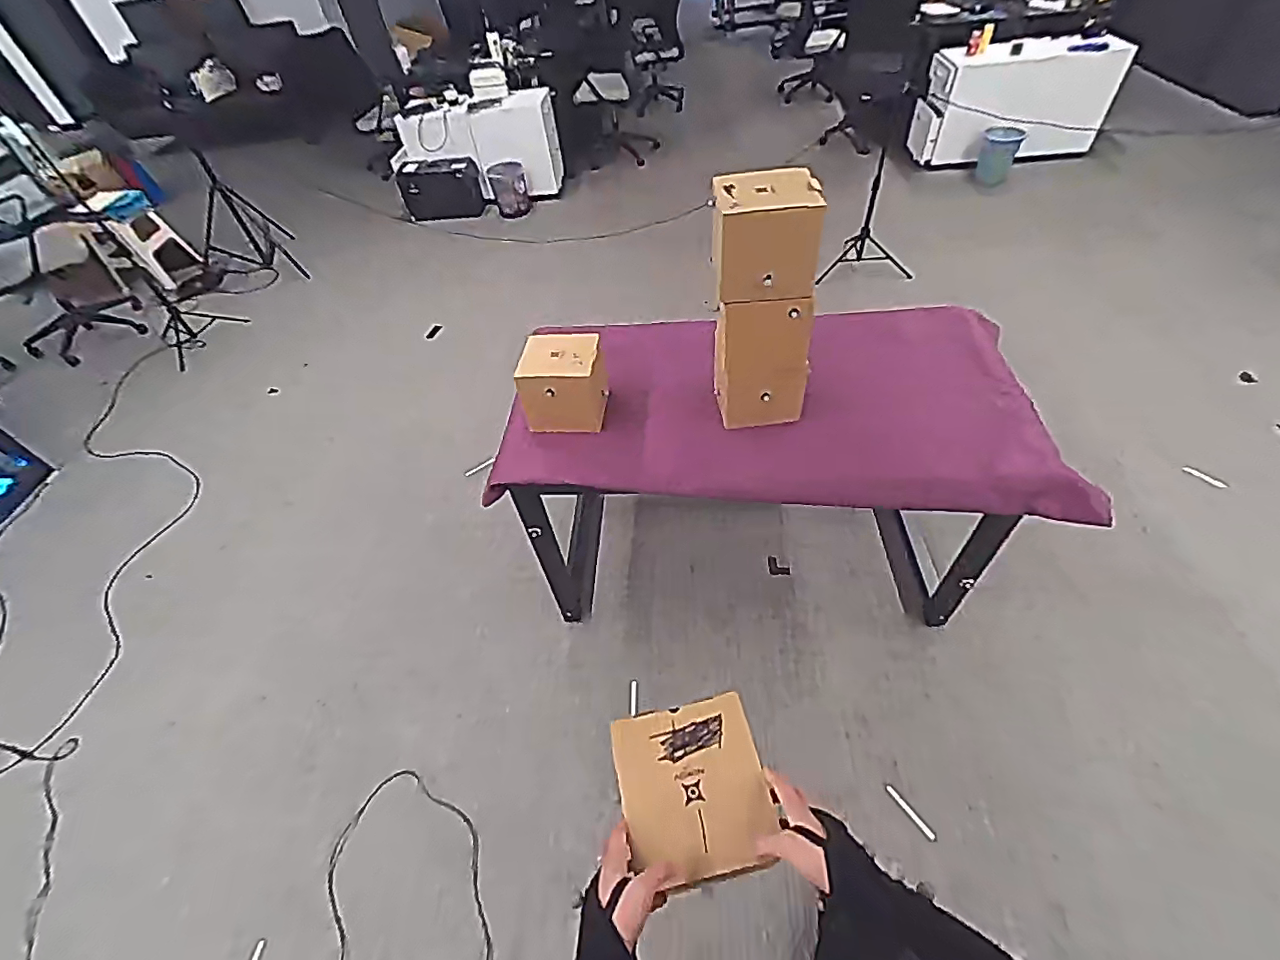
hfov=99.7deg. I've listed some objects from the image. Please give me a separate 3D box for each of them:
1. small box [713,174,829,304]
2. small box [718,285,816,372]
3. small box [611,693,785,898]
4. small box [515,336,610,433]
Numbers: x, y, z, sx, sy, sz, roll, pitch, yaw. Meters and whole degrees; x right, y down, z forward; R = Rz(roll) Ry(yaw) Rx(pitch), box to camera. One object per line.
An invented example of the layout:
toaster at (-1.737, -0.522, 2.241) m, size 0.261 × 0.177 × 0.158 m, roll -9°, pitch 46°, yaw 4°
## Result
small box at (0.232, -0.445, 1.007) m, size 0.179 × 0.176 × 0.168 m, roll -2°, pitch 48°, yaw 3°
small box at (0.255, -0.340, 1.131) m, size 0.179 × 0.176 × 0.168 m, roll -3°, pitch 49°, yaw 4°
small box at (0.062, 0.396, 0.677) m, size 0.168 × 0.176 × 0.179 m, roll -12°, pitch 51°, yaw -5°
small box at (-0.176, -0.226, 1.293) m, size 0.179 × 0.176 × 0.168 m, roll 1°, pitch 48°, yaw 7°
